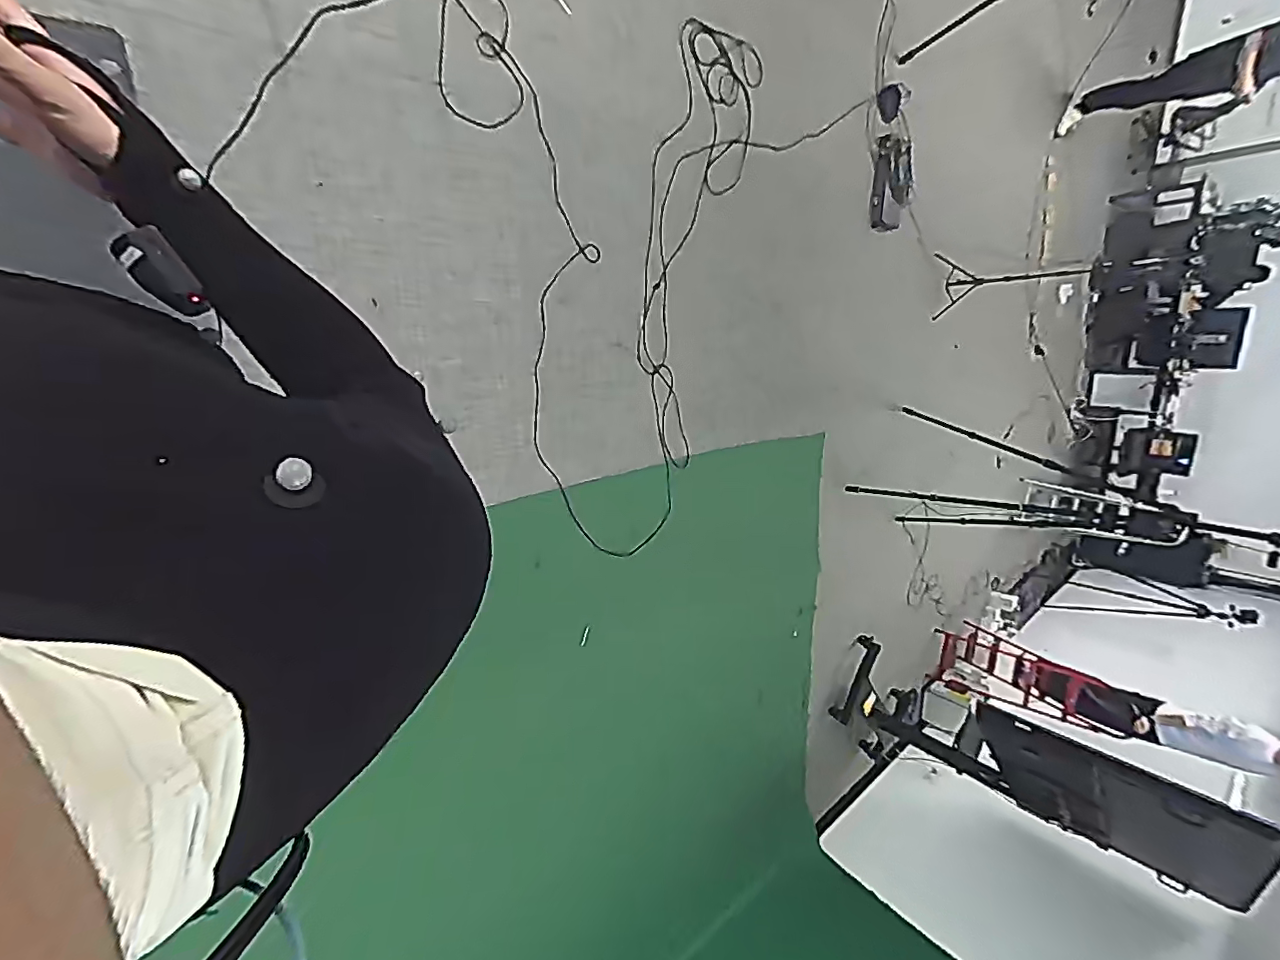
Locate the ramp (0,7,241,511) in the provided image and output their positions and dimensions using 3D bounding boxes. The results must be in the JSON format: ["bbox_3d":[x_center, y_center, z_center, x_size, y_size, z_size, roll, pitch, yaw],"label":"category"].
[{"bbox_3d":[-1.255,-0.458,1.125,0.509,0.206,0.991,-17,110,-34],"label":"ramp"}]
